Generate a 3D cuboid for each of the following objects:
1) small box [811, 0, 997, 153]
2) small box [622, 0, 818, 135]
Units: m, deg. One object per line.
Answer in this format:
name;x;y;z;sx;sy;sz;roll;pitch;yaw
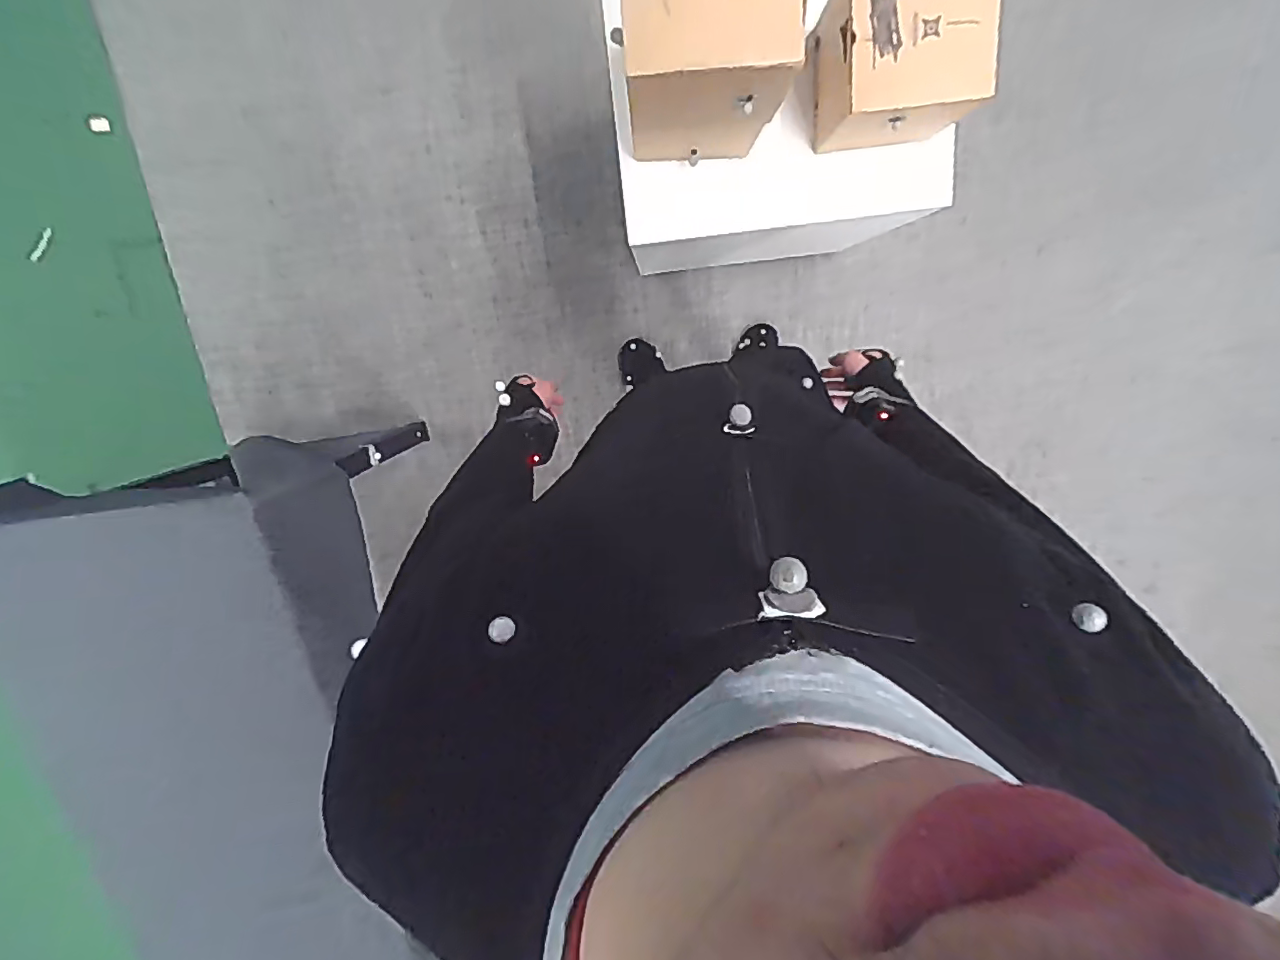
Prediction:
small box;0.333;-0.555;0.715;0.179;0.176;0.168;-6;105;1
small box;0.072;-0.485;0.562;0.179;0.176;0.168;-5;104;1
